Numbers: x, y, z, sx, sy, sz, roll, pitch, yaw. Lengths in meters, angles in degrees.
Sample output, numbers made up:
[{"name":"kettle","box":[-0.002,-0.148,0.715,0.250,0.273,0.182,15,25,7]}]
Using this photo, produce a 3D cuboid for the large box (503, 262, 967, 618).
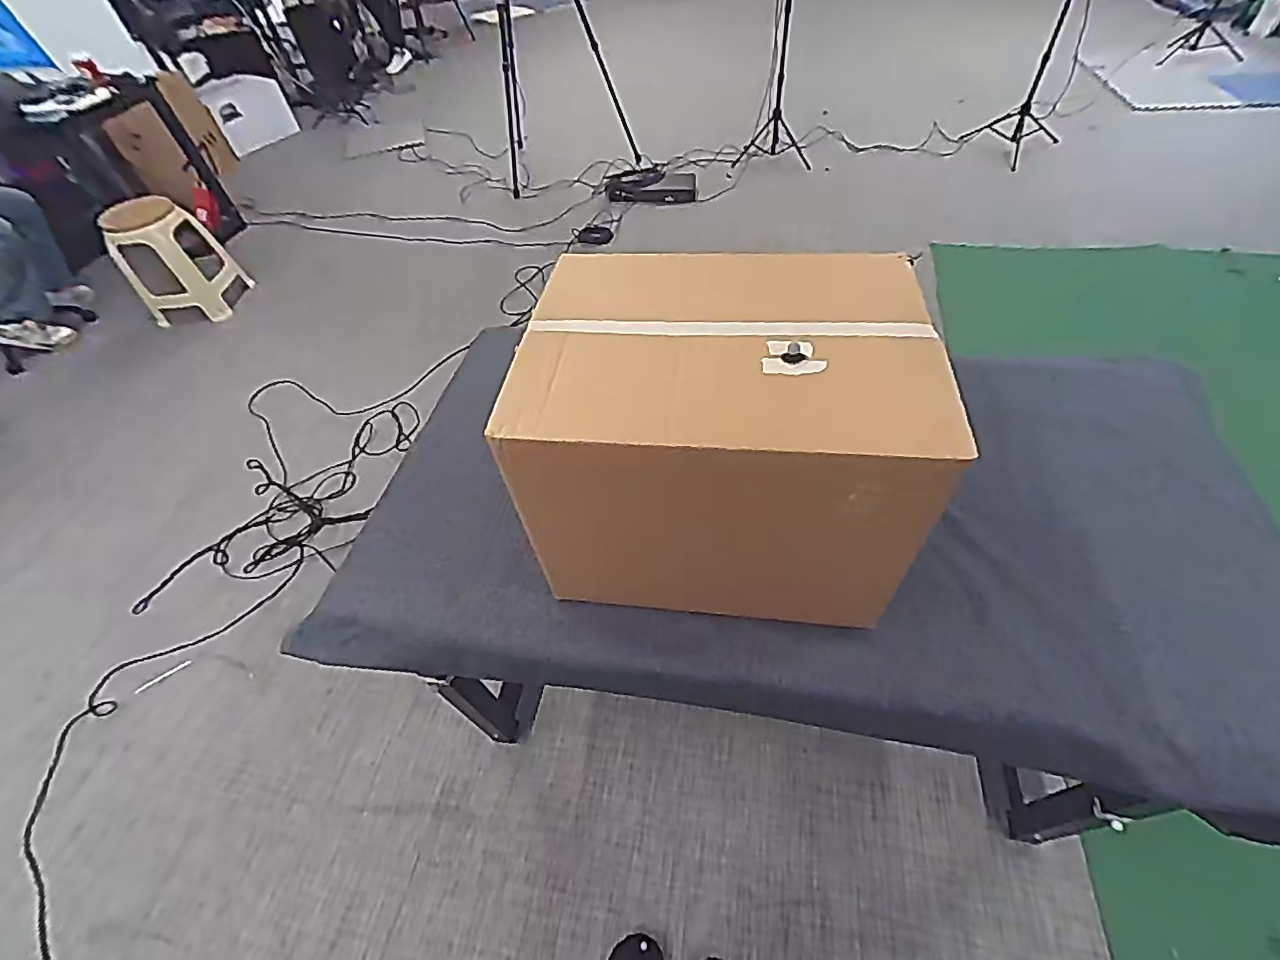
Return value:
[{"name":"large box","box":[0.094,-0.048,0.667,0.408,0.320,0.320,4,52,7]}]
